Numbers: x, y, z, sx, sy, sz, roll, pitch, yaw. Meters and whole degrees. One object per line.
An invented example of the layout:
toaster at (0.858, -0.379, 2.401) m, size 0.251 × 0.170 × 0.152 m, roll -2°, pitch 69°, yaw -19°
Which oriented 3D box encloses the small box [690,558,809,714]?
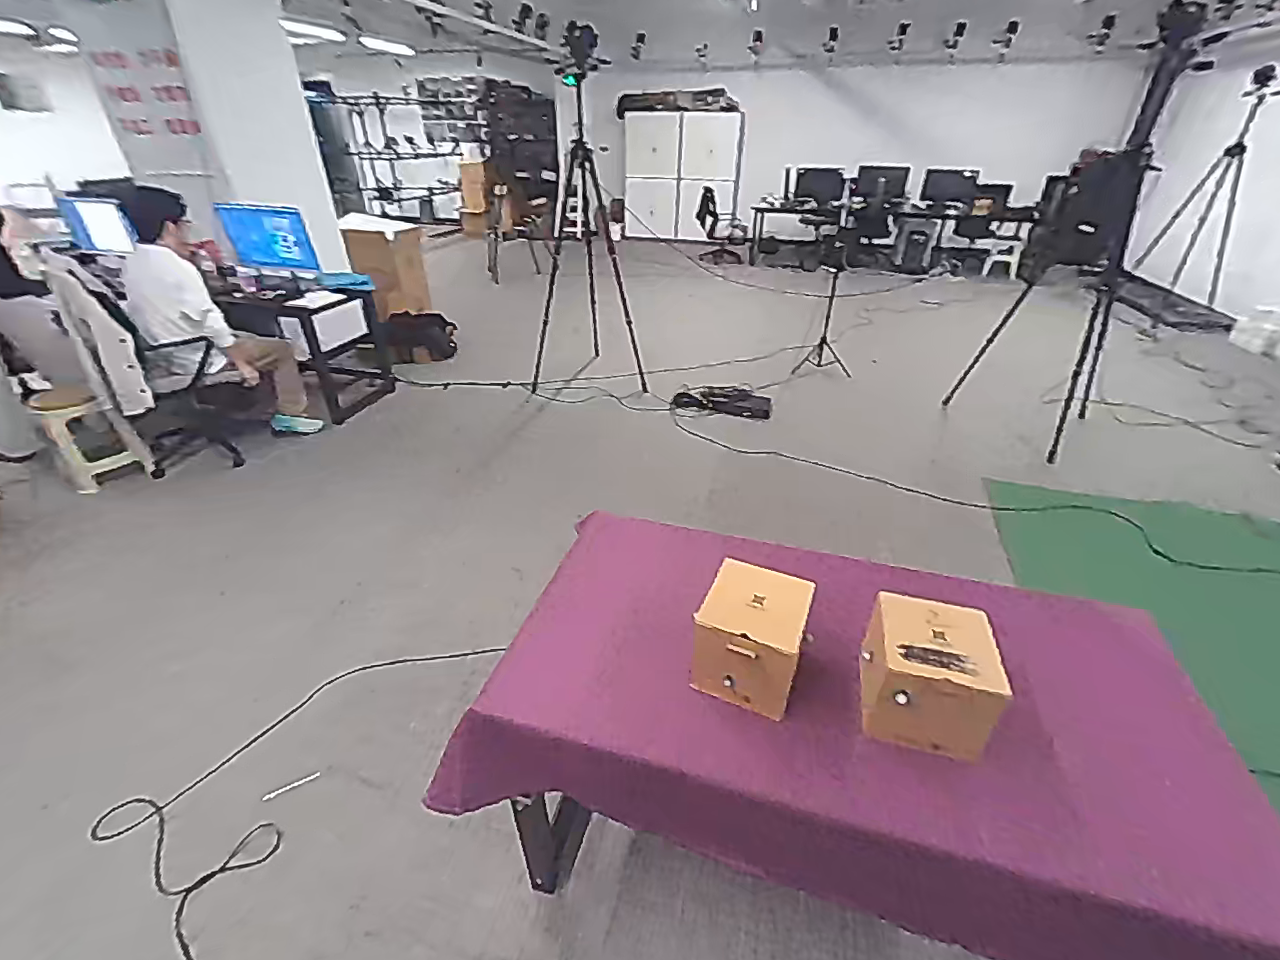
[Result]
small box at (0.193, 0.276, 0.971) m, size 0.168 × 0.176 × 0.179 m, roll 14°, pitch 36°, yaw 20°
